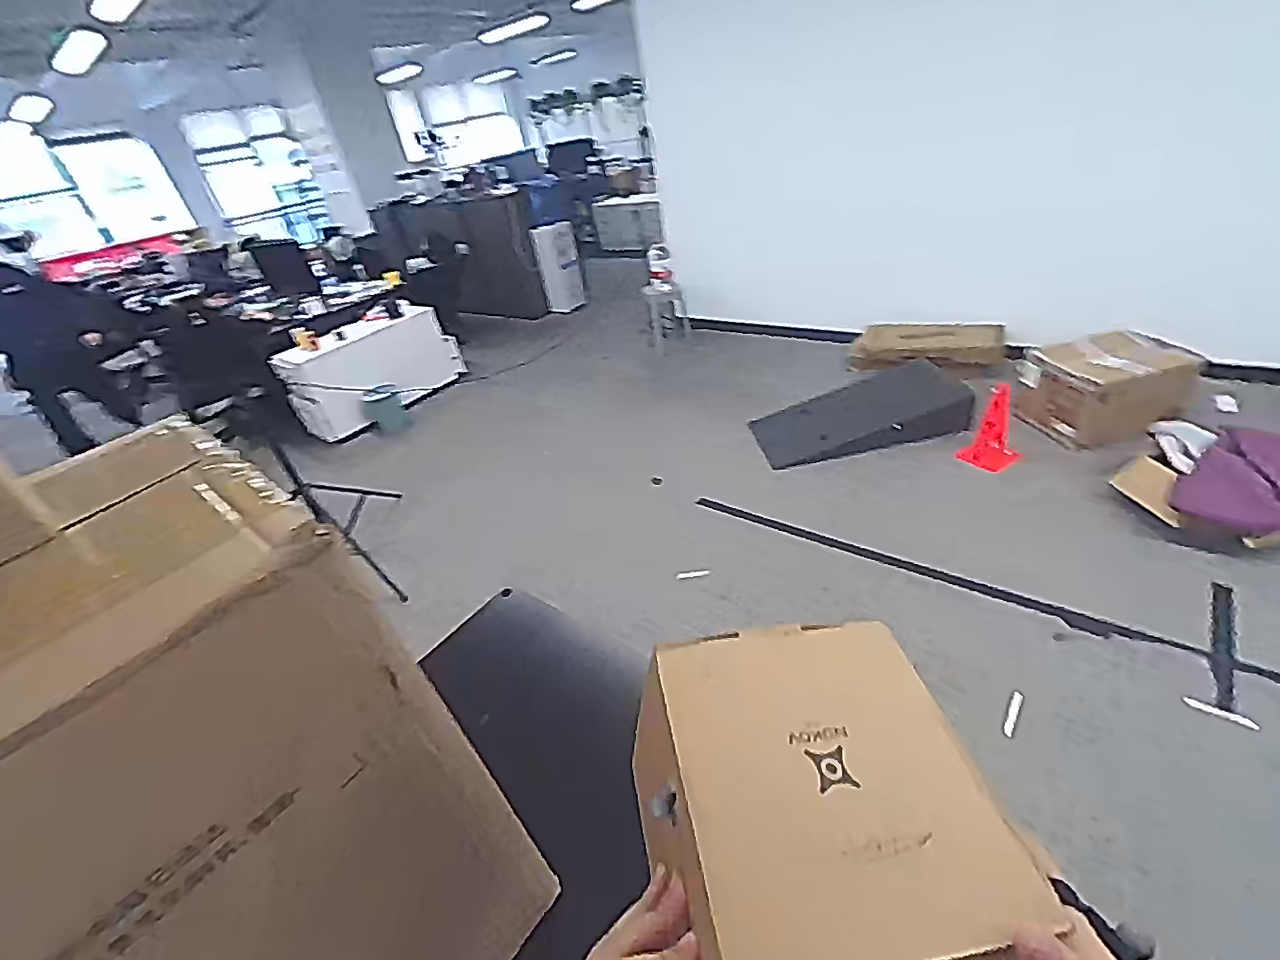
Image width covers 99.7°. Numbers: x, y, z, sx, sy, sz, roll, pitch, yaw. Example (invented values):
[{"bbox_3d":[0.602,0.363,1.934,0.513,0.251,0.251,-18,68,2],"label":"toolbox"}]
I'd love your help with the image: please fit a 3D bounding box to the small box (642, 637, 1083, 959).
[{"bbox_3d":[0.098,0.225,0.339,0.168,0.176,0.179,-2,38,-9],"label":"small box"}]
